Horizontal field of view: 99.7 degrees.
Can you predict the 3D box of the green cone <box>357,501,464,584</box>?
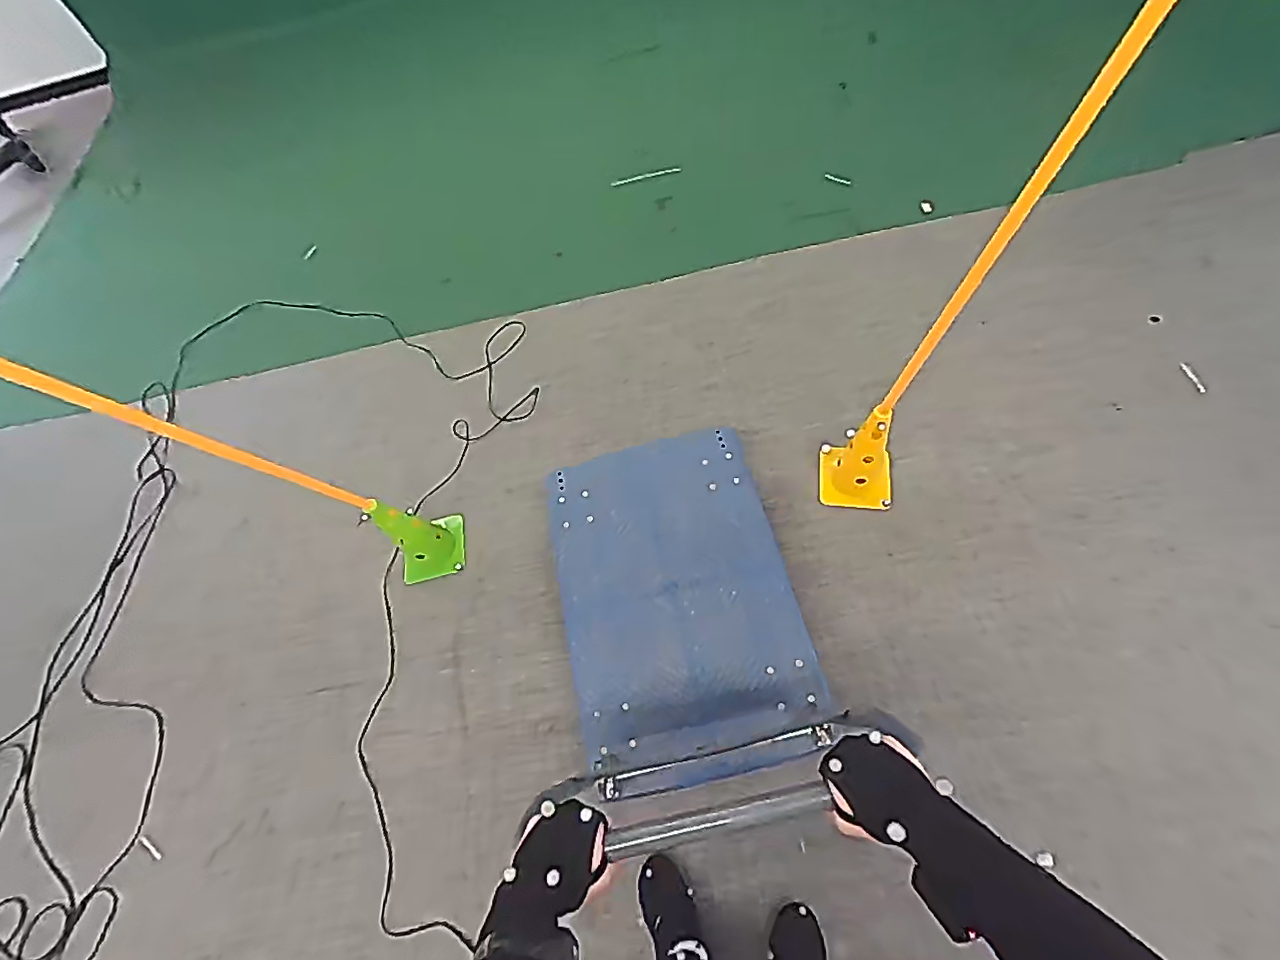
[{"bbox_3d":[-0.694,0.146,1.589,0.202,0.368,0.200,-15,61,4],"label":"green cone"}]
